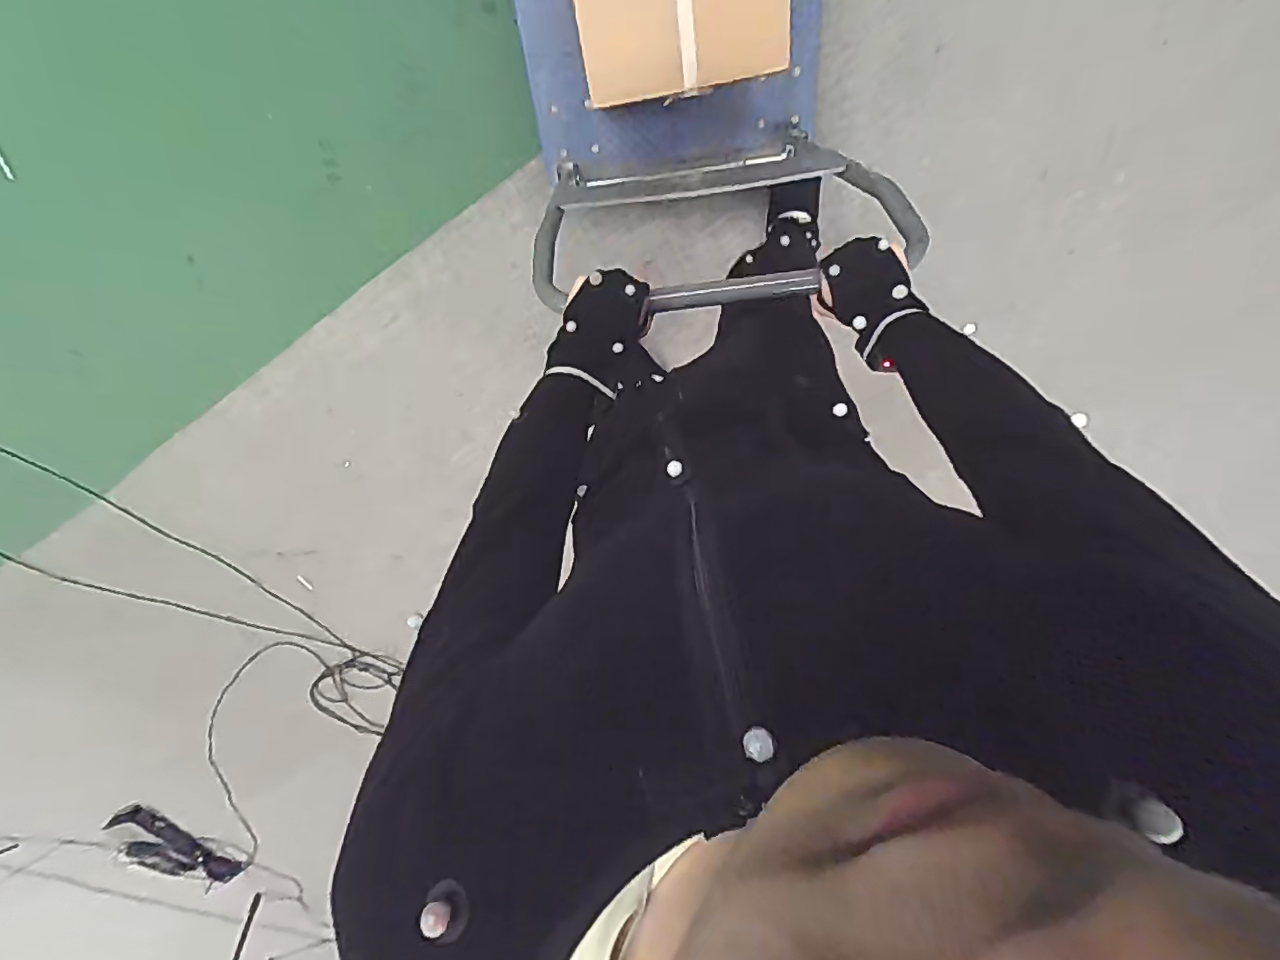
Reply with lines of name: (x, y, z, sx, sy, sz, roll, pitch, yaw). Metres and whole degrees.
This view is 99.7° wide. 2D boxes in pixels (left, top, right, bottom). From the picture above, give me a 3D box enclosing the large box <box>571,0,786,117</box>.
large box: (0.042, -0.852, 0.867, 0.320, 0.320, 0.408, -8, 125, 4)
